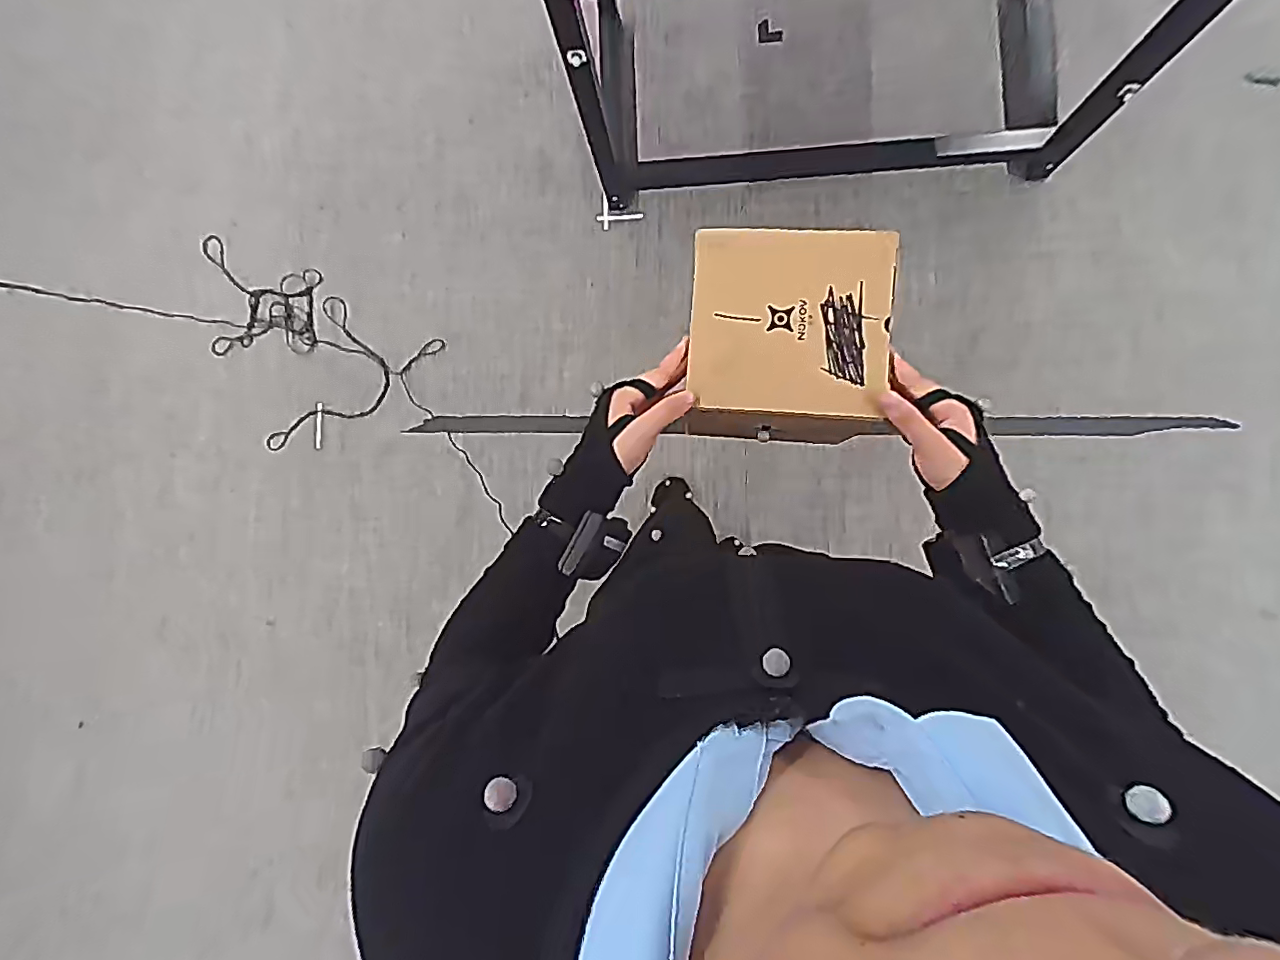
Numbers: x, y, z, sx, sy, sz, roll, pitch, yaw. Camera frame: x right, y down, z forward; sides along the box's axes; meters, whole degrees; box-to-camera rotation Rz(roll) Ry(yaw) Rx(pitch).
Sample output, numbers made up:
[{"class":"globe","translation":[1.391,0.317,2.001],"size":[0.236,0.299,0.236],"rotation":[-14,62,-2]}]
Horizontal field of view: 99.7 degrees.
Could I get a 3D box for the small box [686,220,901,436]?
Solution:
[{"class":"small box","translation":[0.141,-0.140,0.551],"size":[0.179,0.176,0.168],"rotation":[4,87,7]}]
